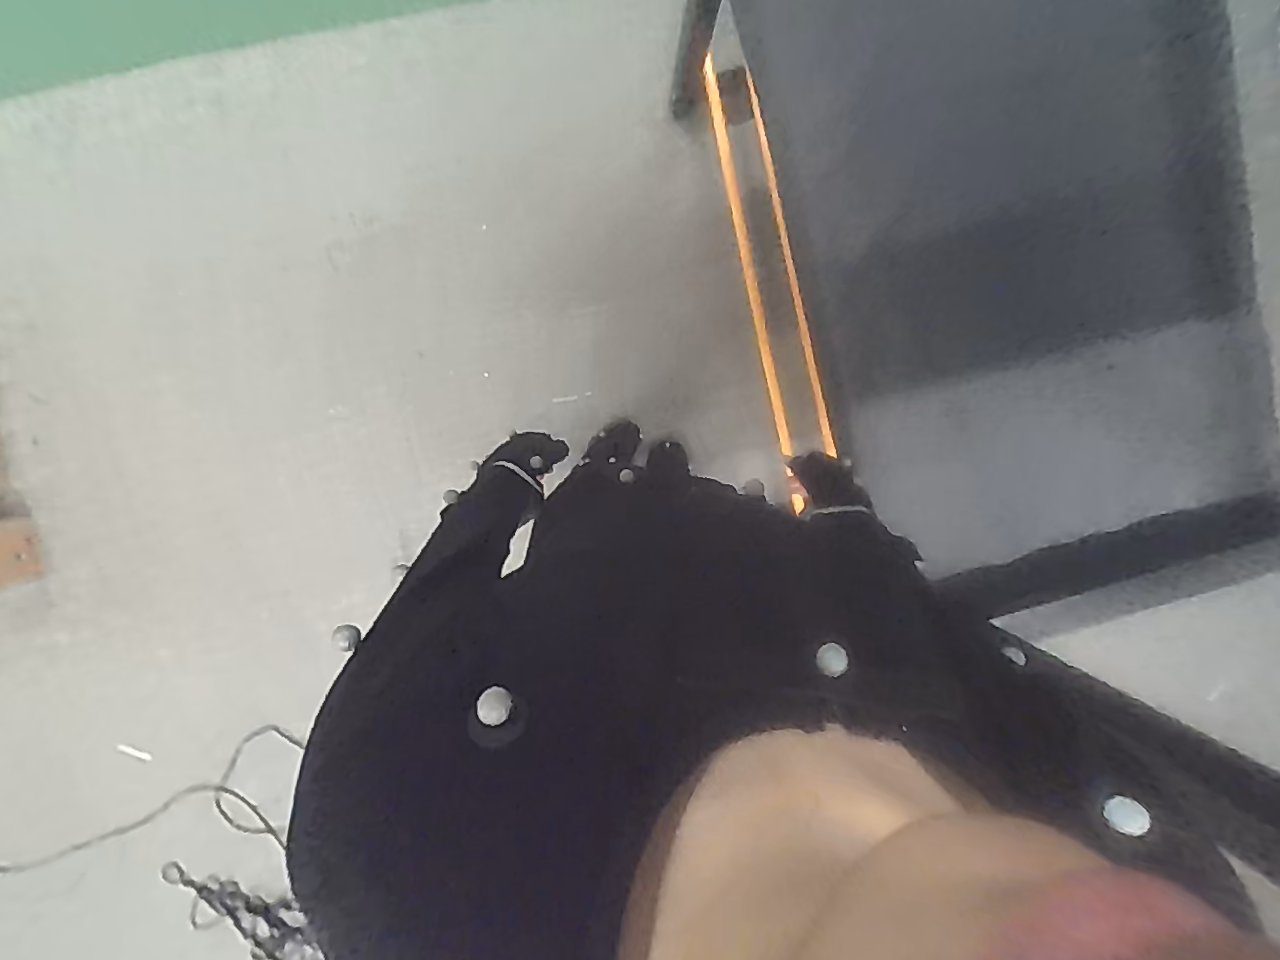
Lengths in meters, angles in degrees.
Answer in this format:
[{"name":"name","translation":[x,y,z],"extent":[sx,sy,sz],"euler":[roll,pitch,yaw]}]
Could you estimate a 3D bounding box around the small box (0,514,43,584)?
[{"name":"small box","translation":[-1.647,0.188,1.318],"extent":[0.179,0.176,0.168],"euler":[-12,96,-3]}]
